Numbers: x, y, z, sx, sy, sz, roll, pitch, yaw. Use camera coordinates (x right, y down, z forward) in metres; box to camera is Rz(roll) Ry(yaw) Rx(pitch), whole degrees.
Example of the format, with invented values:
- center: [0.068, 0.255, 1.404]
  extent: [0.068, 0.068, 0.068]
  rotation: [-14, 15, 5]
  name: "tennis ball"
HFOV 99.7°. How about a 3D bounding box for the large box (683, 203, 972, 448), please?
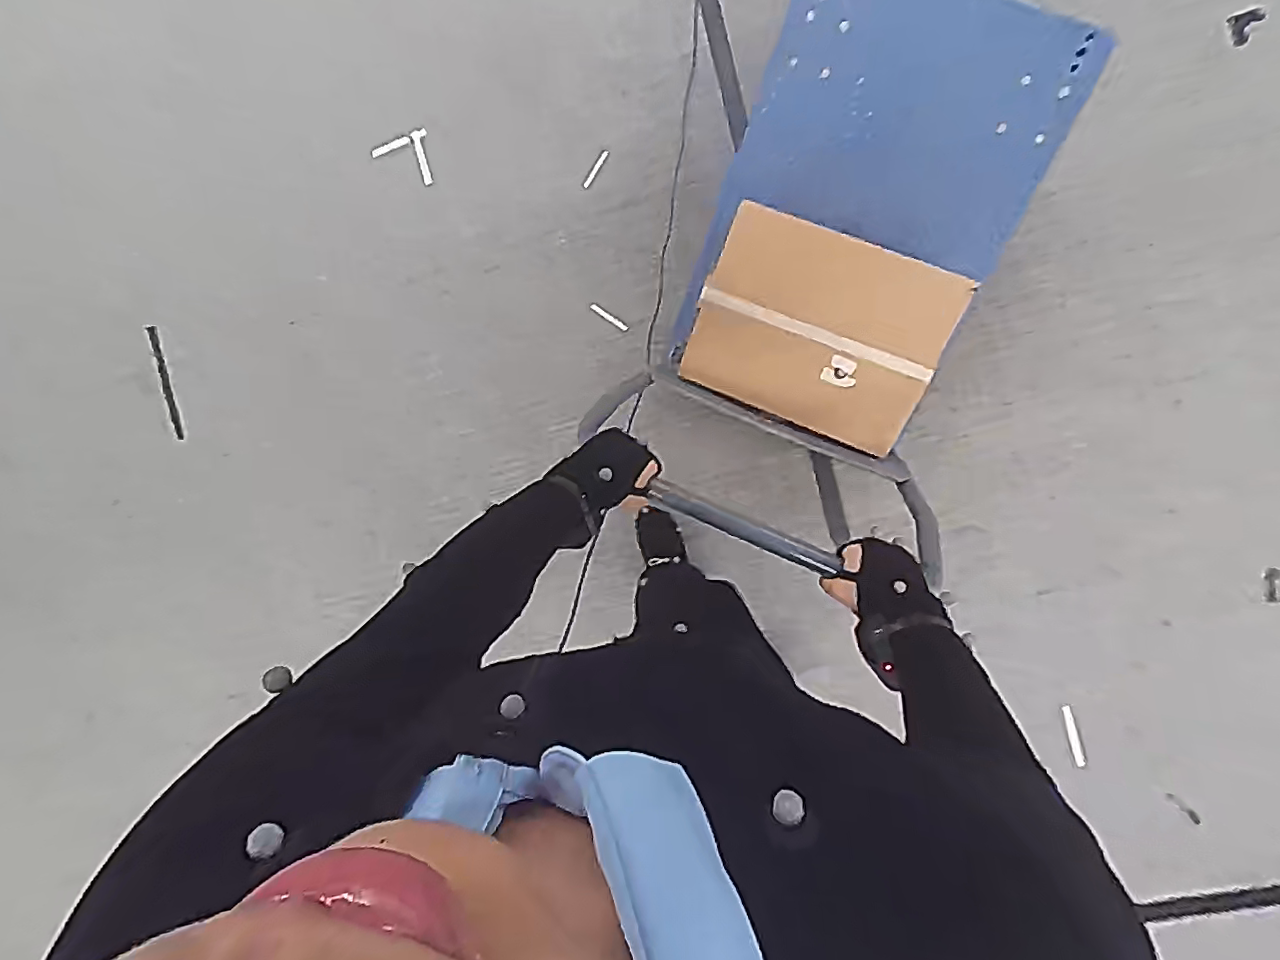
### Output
- center: [0.341, -0.303, 1.083]
  extent: [0.408, 0.320, 0.320]
  rotation: [24, 110, 7]
  name: "large box"
